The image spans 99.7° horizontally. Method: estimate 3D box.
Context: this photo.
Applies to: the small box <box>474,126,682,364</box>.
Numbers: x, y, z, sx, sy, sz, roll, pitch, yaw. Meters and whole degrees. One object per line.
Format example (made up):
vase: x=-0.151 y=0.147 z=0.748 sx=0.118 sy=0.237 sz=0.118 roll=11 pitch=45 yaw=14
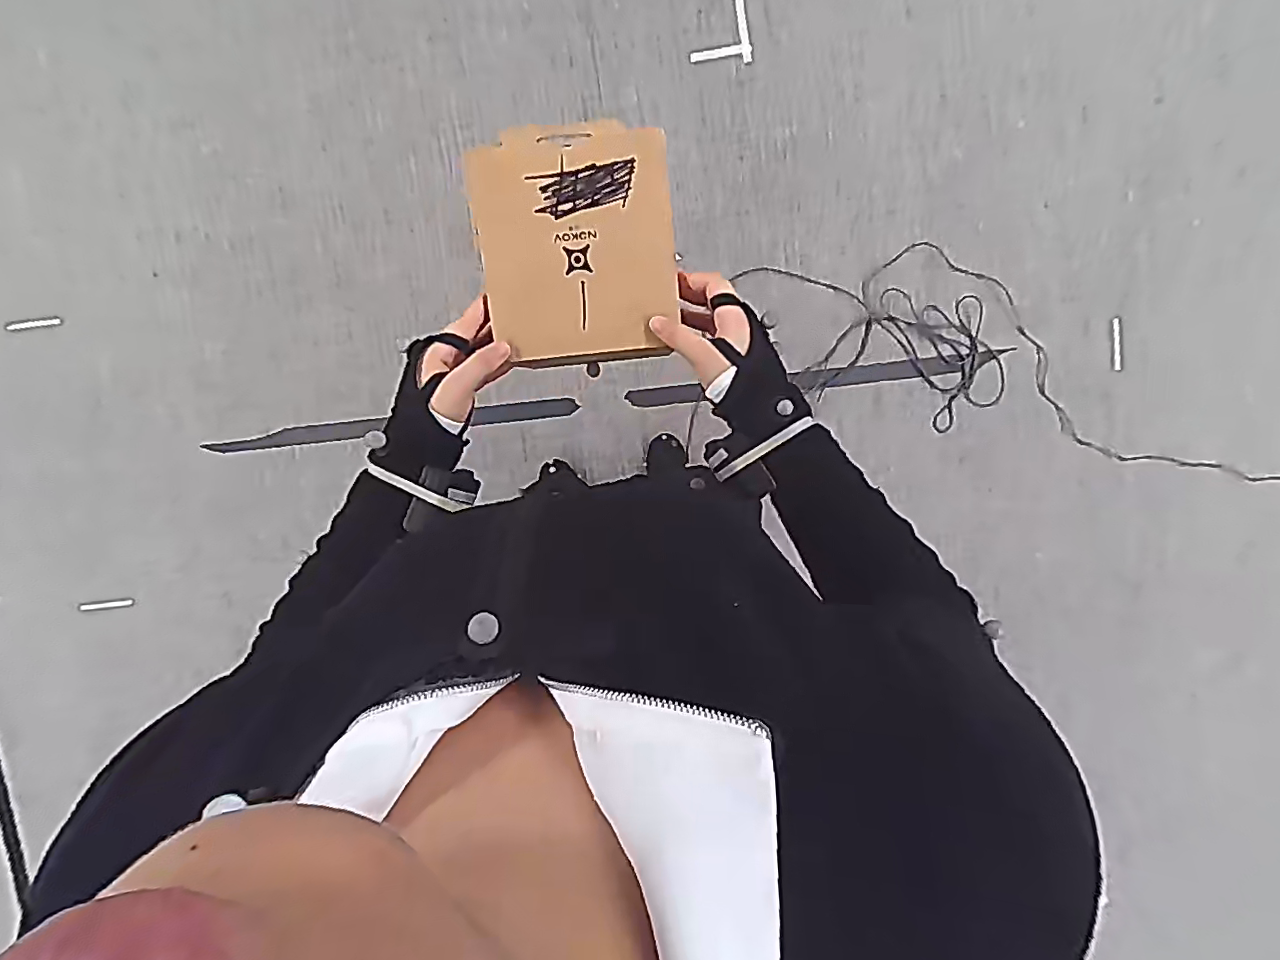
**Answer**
small box: x=-0.053 y=-0.214 z=0.537 sx=0.168 sy=0.176 sz=0.179 roll=-5 pitch=100 yaw=0
